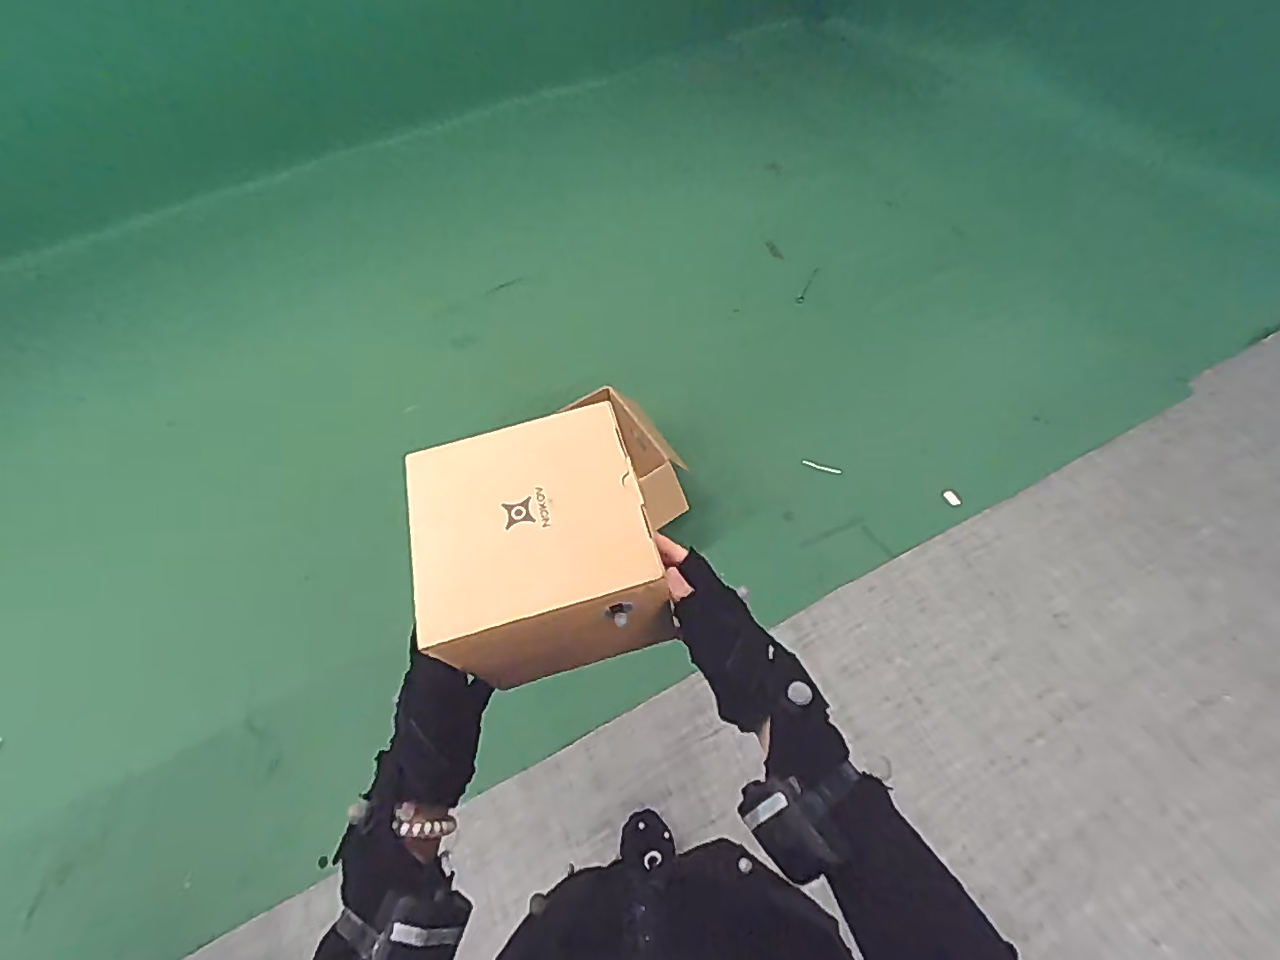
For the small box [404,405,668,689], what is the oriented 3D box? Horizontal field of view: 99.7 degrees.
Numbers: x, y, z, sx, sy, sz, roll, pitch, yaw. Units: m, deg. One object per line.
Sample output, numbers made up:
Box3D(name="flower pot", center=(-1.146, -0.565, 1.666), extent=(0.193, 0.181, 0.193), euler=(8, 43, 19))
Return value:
Box3D(name="small box", center=(-0.082, 0.067, 0.473), extent=(0.179, 0.176, 0.168), euler=(-16, 59, -4))
